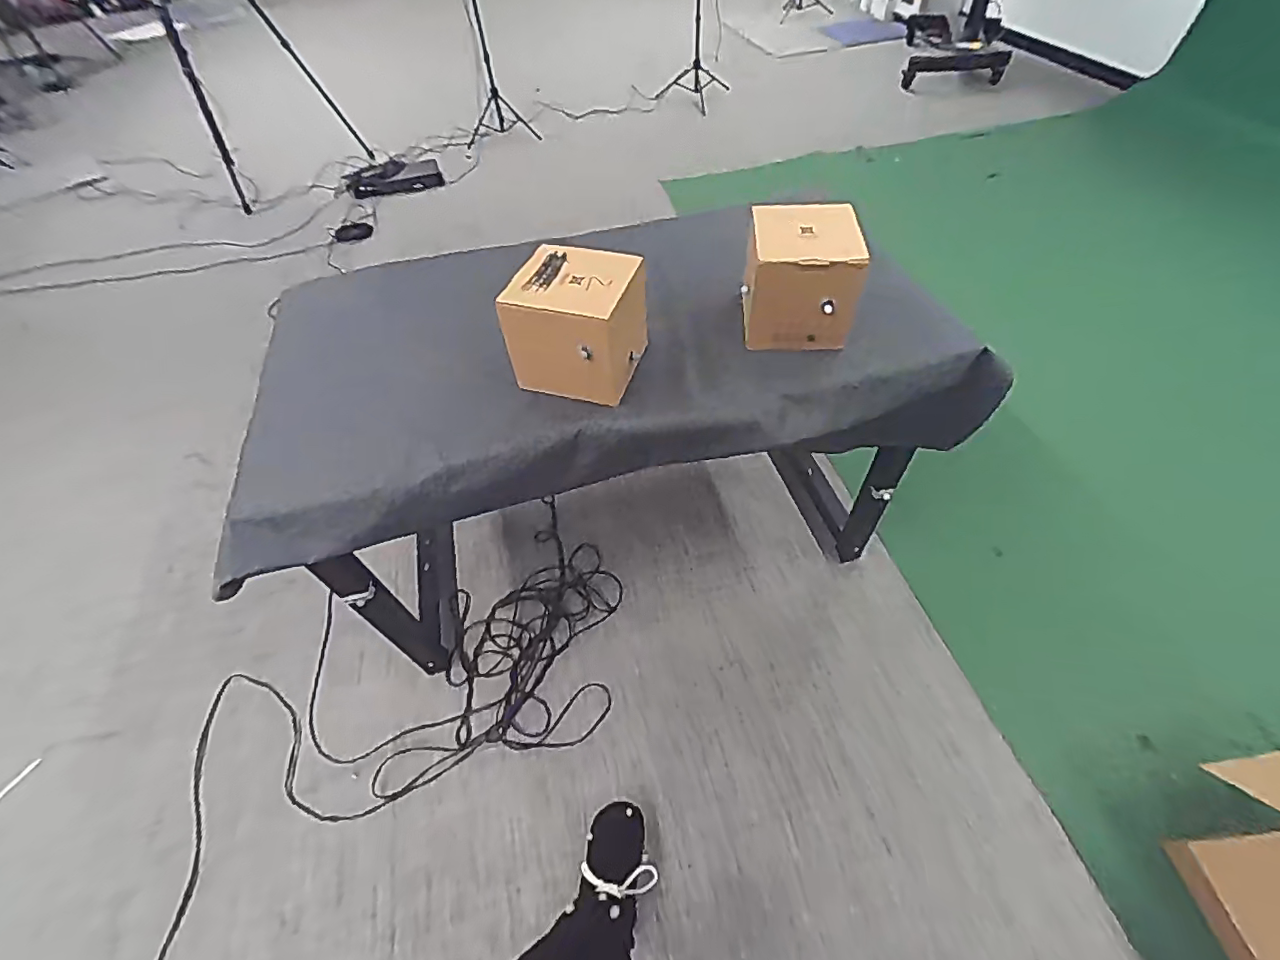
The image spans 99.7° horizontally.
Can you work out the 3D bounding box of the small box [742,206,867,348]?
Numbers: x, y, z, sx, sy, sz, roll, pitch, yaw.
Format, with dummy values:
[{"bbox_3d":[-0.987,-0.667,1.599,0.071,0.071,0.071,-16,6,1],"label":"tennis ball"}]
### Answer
[{"bbox_3d":[0.265,-0.339,0.915,0.168,0.176,0.179,1,51,4],"label":"small box"}]
